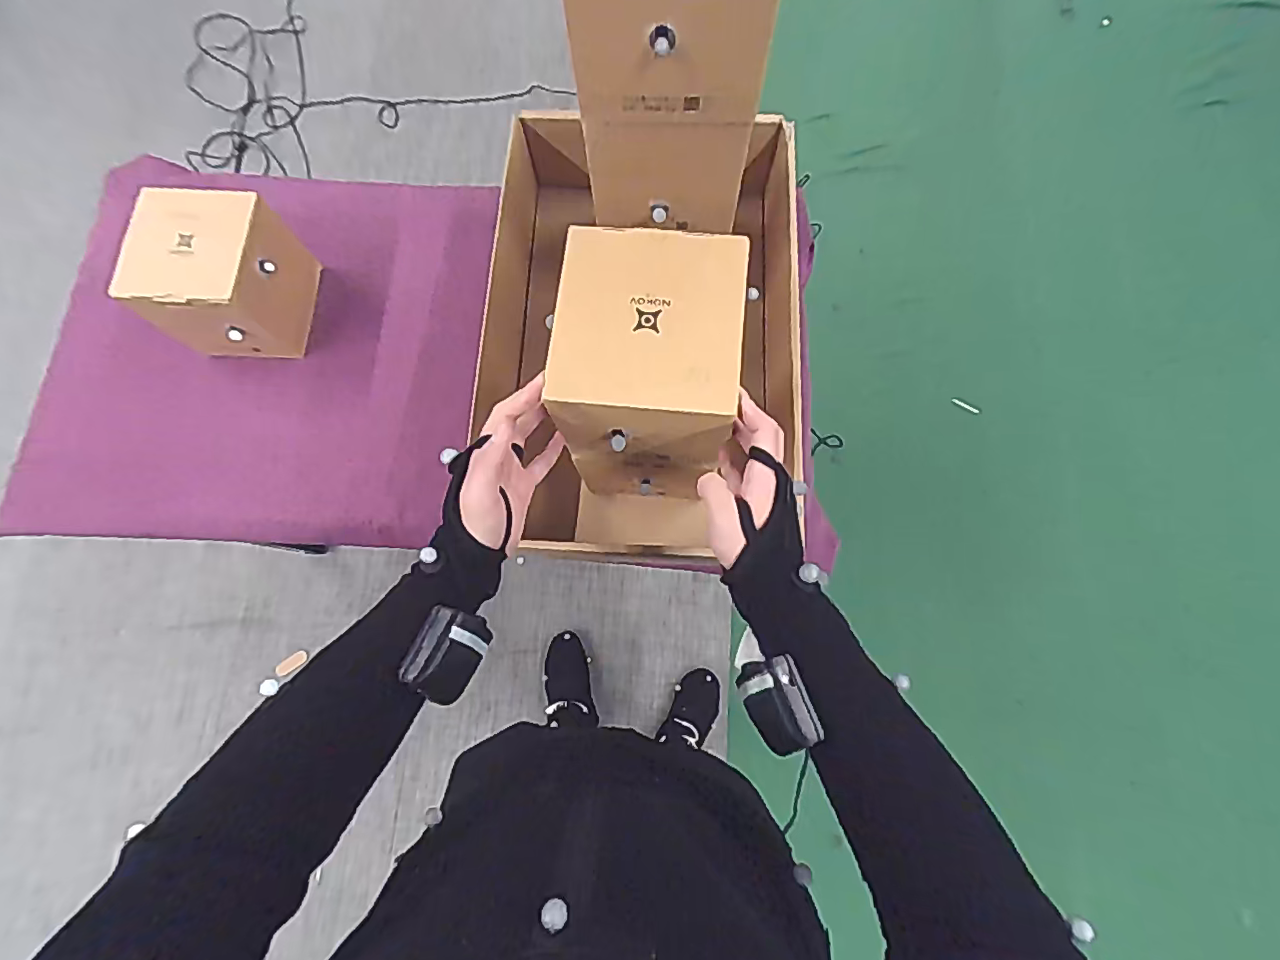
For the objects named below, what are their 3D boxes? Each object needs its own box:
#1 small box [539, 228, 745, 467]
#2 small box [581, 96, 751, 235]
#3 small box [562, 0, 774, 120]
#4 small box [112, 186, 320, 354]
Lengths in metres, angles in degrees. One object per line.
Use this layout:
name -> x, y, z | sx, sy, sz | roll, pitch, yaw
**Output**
small box -> 0.009, -0.120, 0.545 | 0.168, 0.176, 0.179 | 5, 75, 4
small box -> 0.029, -0.403, 0.611 | 0.168, 0.176, 0.179 | 1, 78, 2
small box -> 0.026, -0.436, 0.449 | 0.168, 0.176, 0.179 | 2, 77, 2
small box -> -0.619, -0.306, 0.817 | 0.168, 0.176, 0.179 | 3, 76, 0
